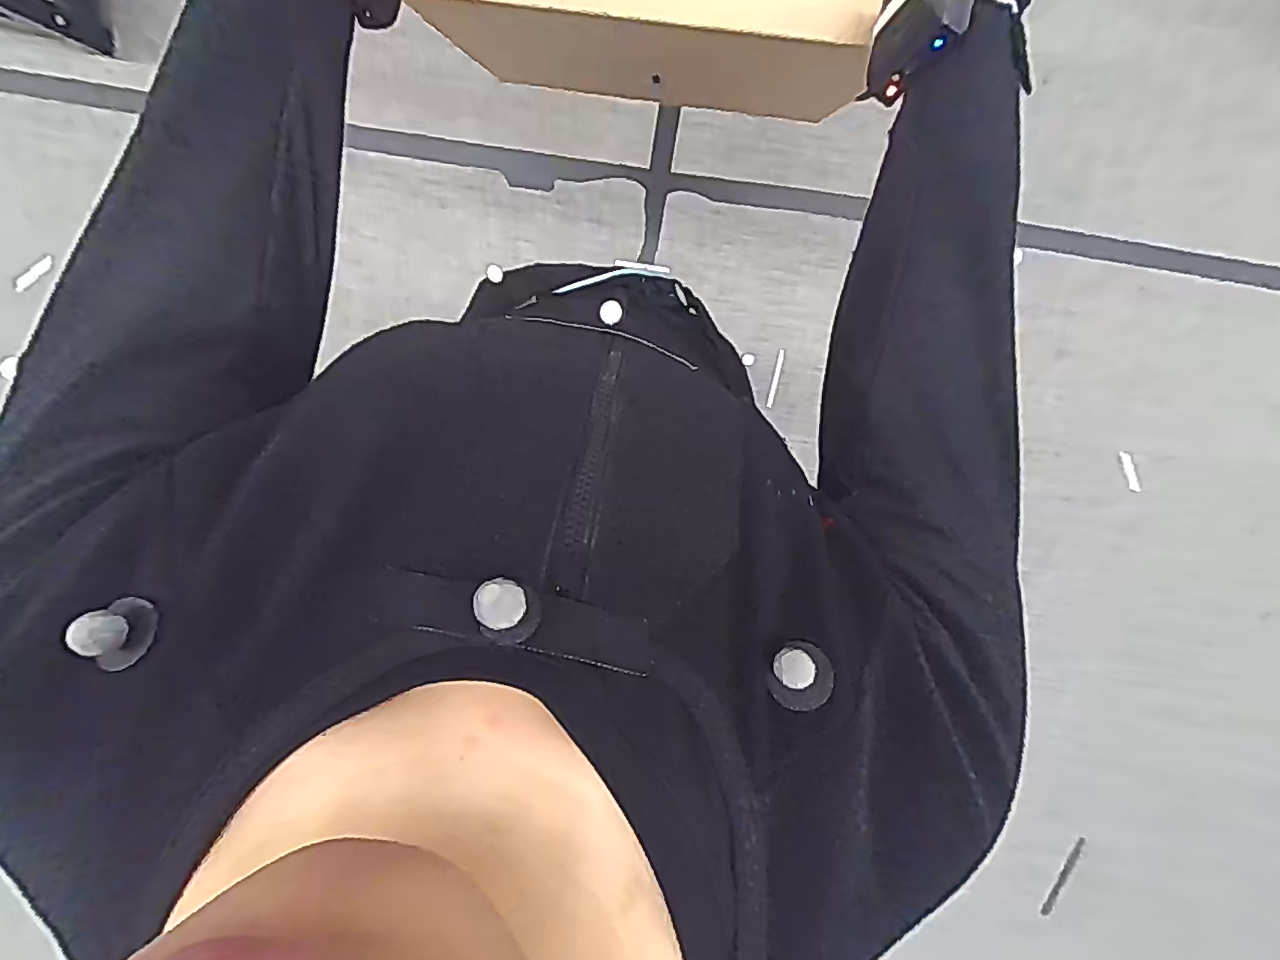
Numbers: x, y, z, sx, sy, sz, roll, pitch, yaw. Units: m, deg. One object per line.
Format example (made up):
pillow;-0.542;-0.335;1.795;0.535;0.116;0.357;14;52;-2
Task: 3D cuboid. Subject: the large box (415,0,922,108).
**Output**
large box;0.034;-0.550;0.472;0.408;0.320;0.320;8;115;0
